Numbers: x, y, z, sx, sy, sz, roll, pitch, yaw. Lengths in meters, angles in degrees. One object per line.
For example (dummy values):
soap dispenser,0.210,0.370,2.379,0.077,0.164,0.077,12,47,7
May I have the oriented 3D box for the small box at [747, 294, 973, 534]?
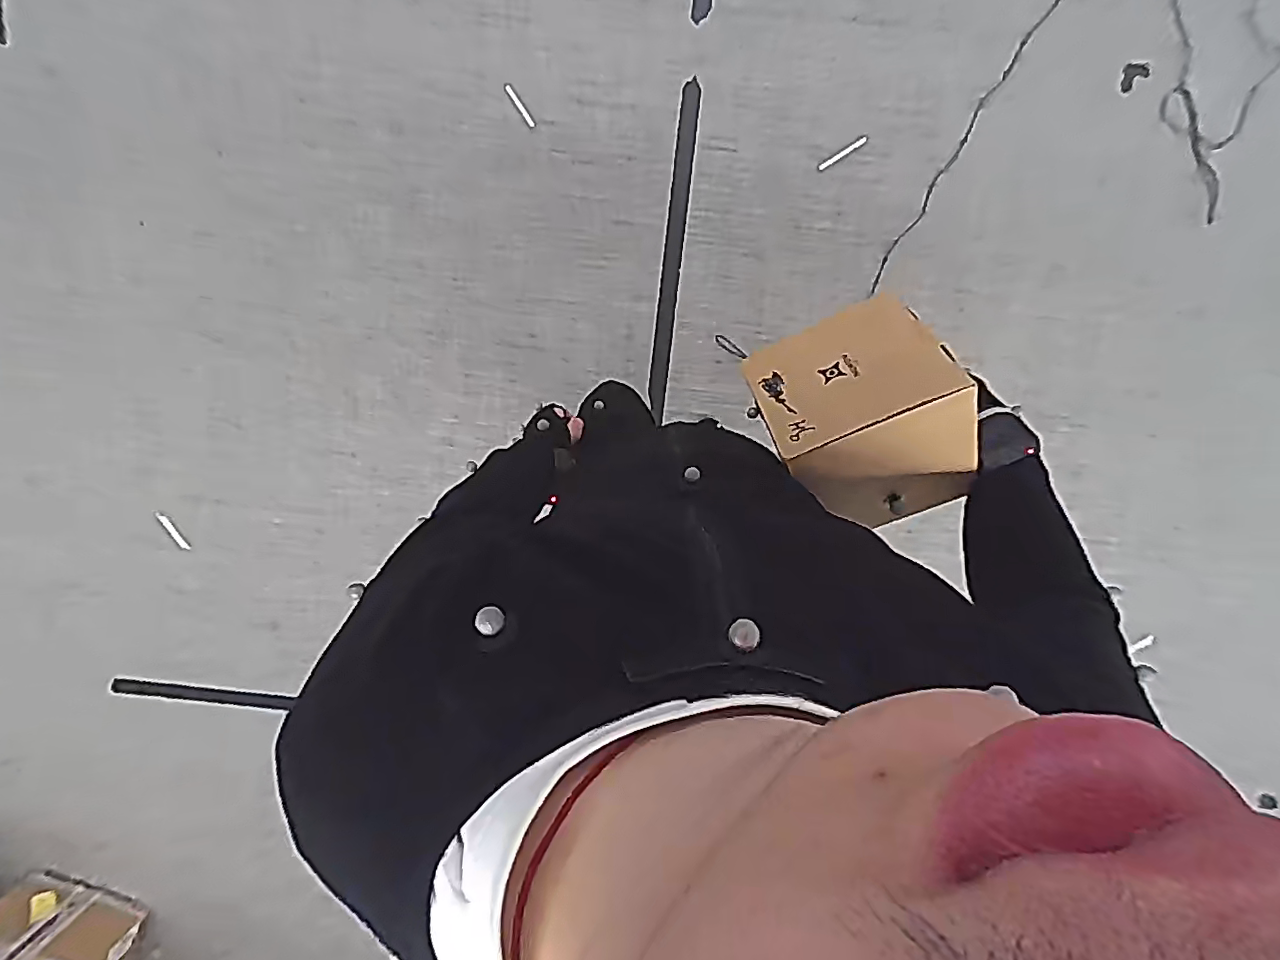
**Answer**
small box,0.244,-0.068,0.611,0.179,0.168,0.176,-23,135,14
